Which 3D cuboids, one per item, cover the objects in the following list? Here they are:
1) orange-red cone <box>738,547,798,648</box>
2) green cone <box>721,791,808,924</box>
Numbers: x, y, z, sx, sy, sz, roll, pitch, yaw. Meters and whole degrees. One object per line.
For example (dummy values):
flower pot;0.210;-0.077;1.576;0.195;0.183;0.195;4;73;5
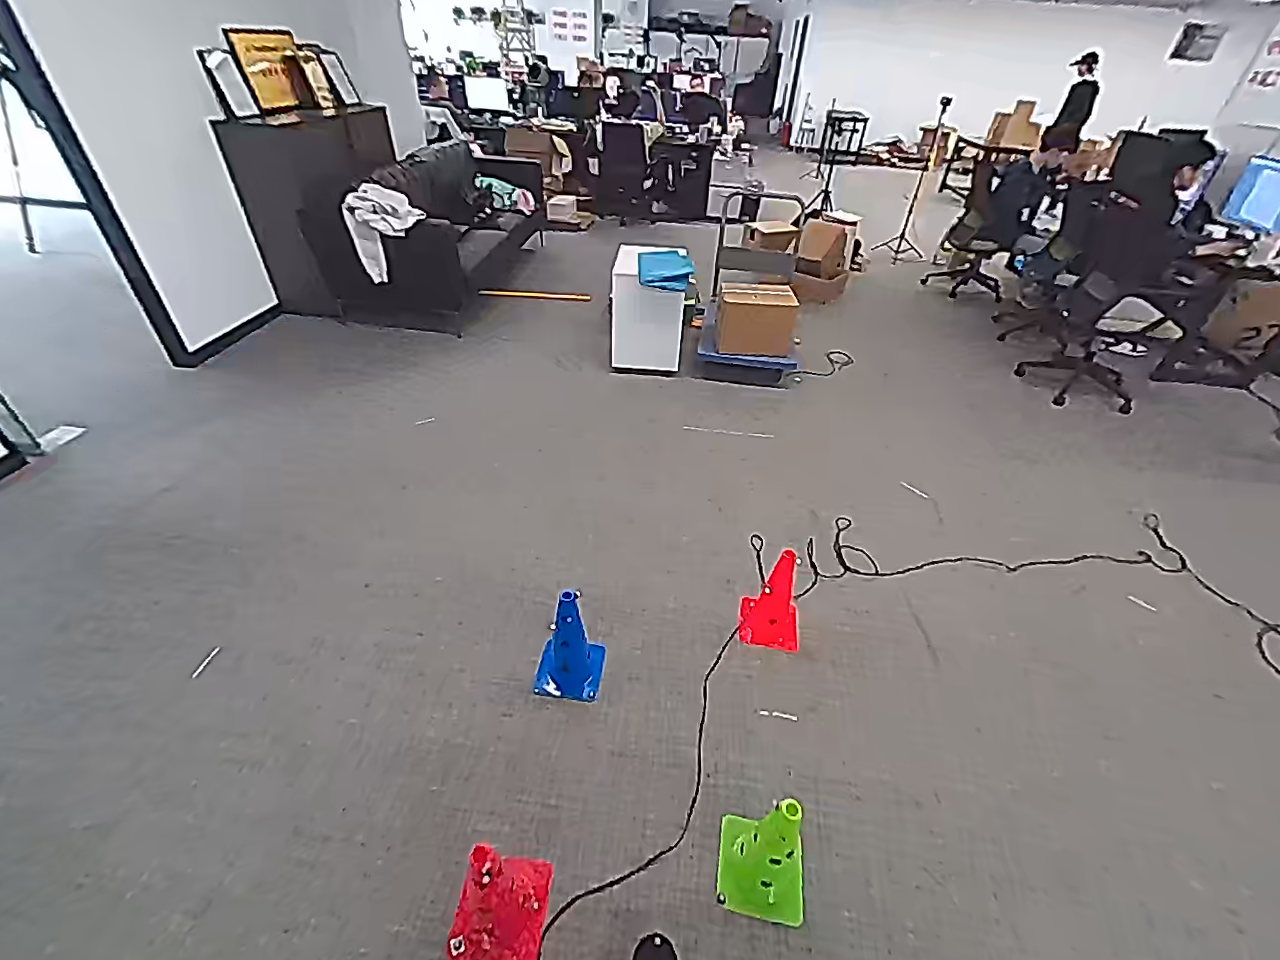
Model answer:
orange-red cone;0.449;0.355;1.765;0.198;0.360;0.199;9;40;9
green cone;0.307;0.795;1.197;0.200;0.368;0.202;8;38;6
